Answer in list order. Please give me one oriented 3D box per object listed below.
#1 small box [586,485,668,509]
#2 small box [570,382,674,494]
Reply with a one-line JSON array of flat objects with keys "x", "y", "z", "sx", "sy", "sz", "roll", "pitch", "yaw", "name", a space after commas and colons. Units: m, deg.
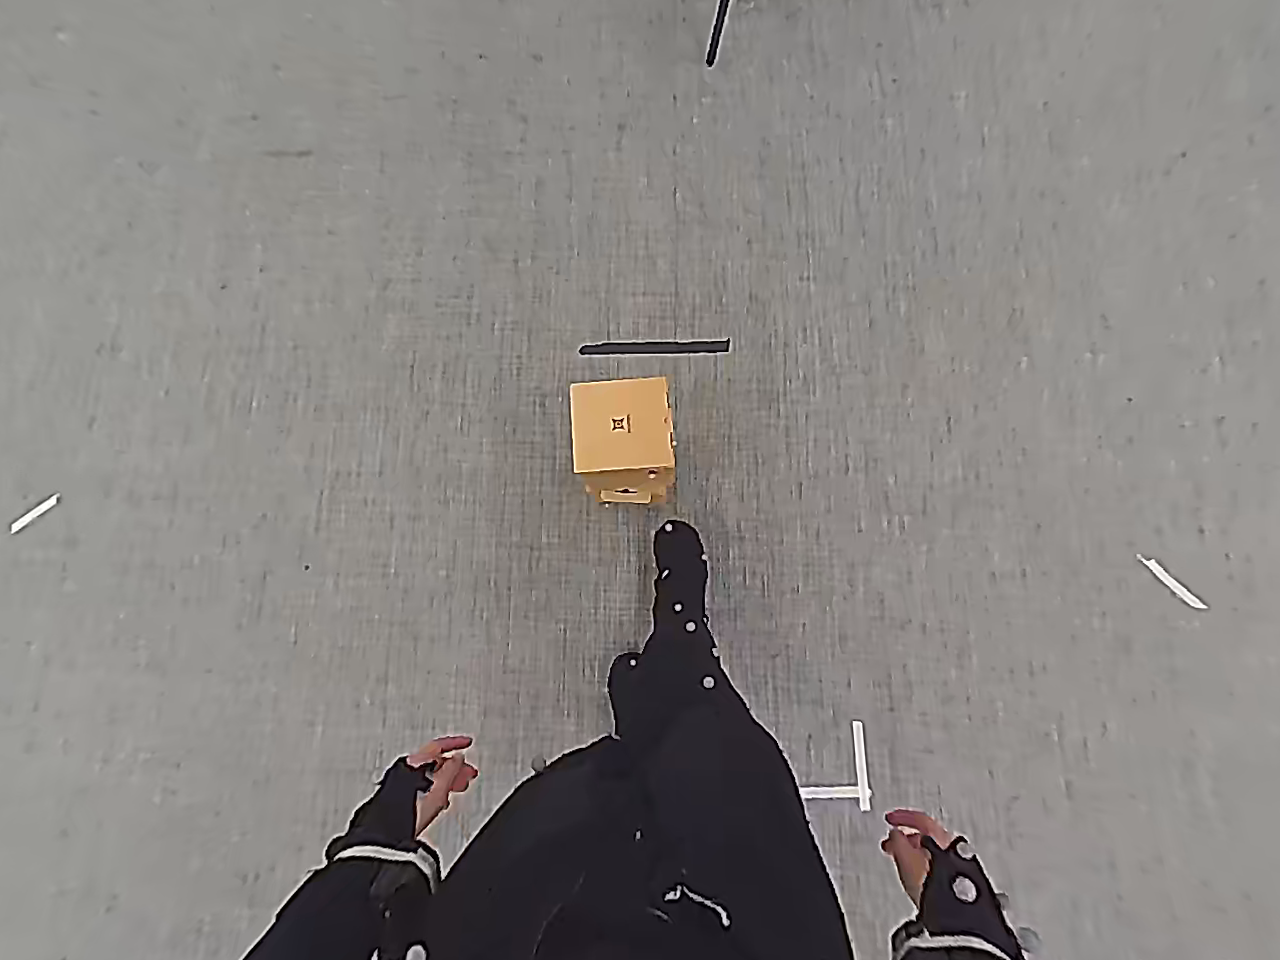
[{"x": -0.020, "y": -0.033, "z": 1.181, "sx": 0.168, "sy": 0.176, "sz": 0.179, "roll": 2, "pitch": 79, "yaw": 3, "name": "small box"}, {"x": -0.029, "y": -0.072, "z": 1.023, "sx": 0.179, "sy": 0.176, "sz": 0.168, "roll": -5, "pitch": 79, "yaw": 1, "name": "small box"}]
